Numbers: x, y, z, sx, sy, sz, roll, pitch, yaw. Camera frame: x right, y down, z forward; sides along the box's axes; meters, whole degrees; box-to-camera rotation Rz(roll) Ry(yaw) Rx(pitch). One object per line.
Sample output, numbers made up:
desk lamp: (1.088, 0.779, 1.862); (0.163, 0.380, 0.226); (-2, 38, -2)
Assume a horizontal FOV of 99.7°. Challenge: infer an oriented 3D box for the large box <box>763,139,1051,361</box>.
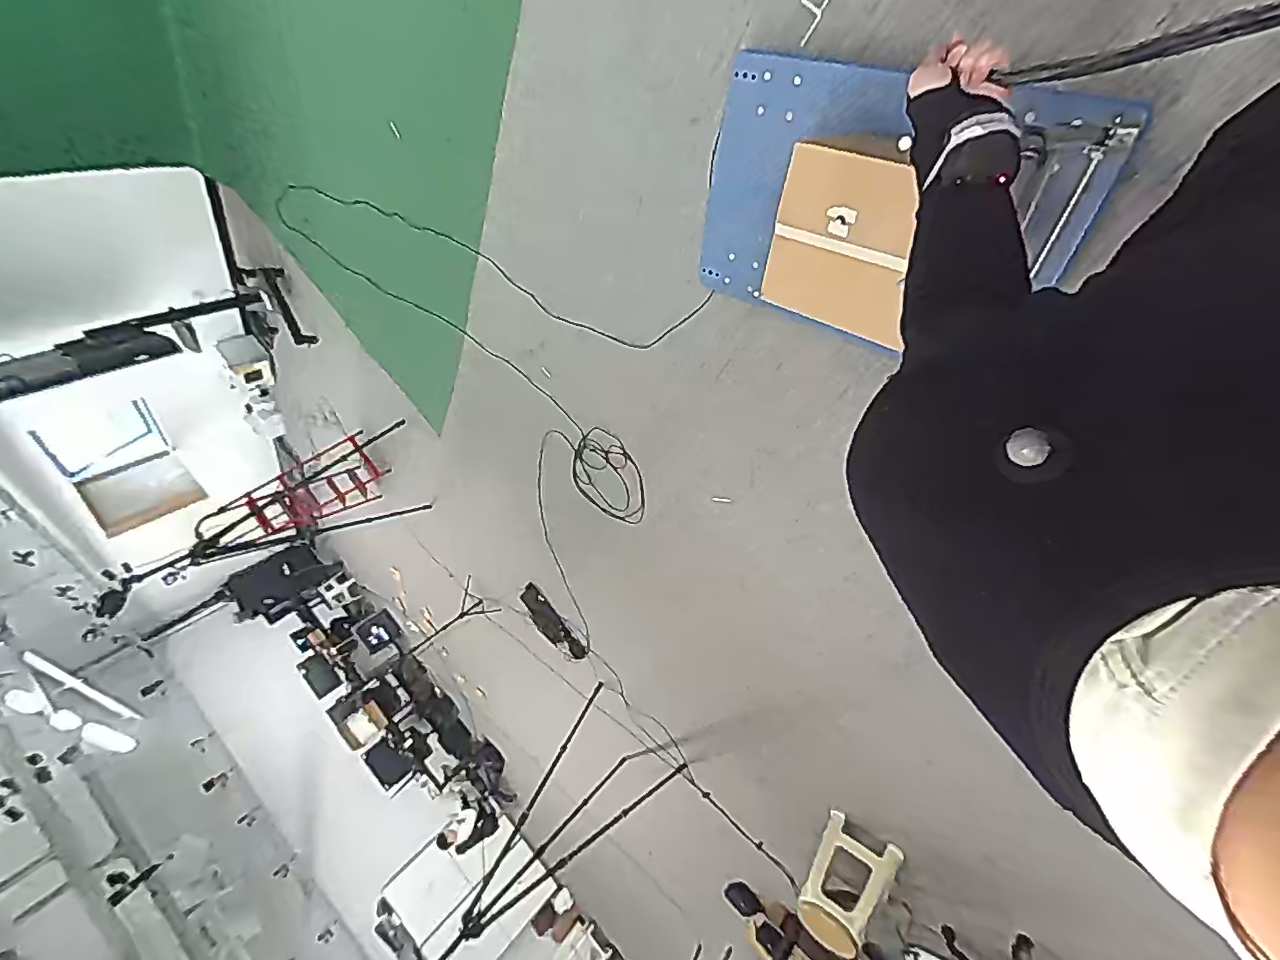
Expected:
large box: (0.538, -0.500, 1.133); (0.408, 0.320, 0.320); (33, 135, 28)
